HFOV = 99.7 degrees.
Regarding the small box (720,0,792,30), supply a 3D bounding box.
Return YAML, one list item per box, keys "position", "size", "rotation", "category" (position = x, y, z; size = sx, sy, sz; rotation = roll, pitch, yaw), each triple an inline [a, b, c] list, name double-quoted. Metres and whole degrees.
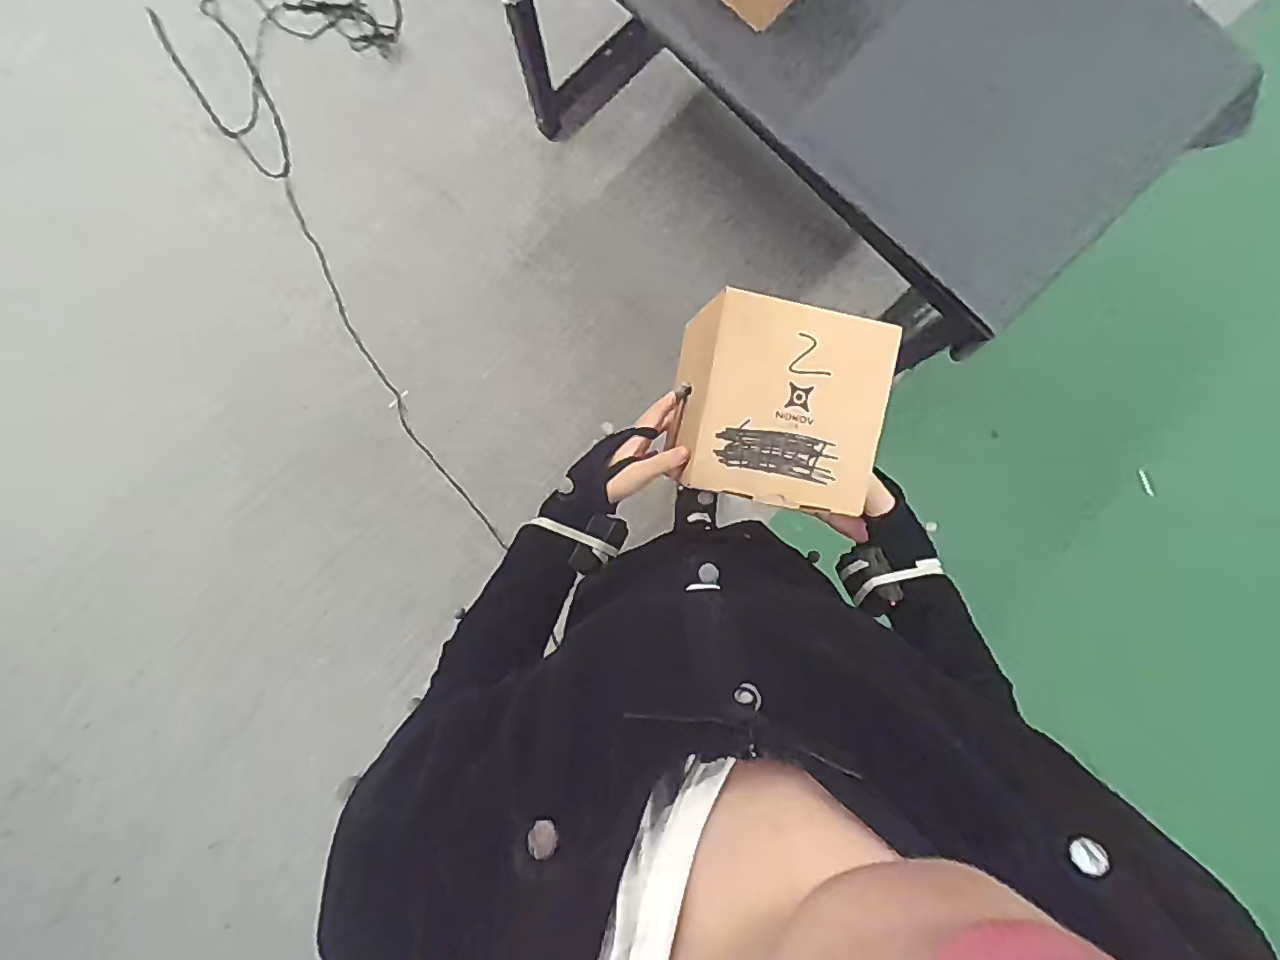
- position: [0.182, -0.797, 0.747]
  size: [0.168, 0.176, 0.179]
  rotation: [44, 88, 2]
  category: "small box"
